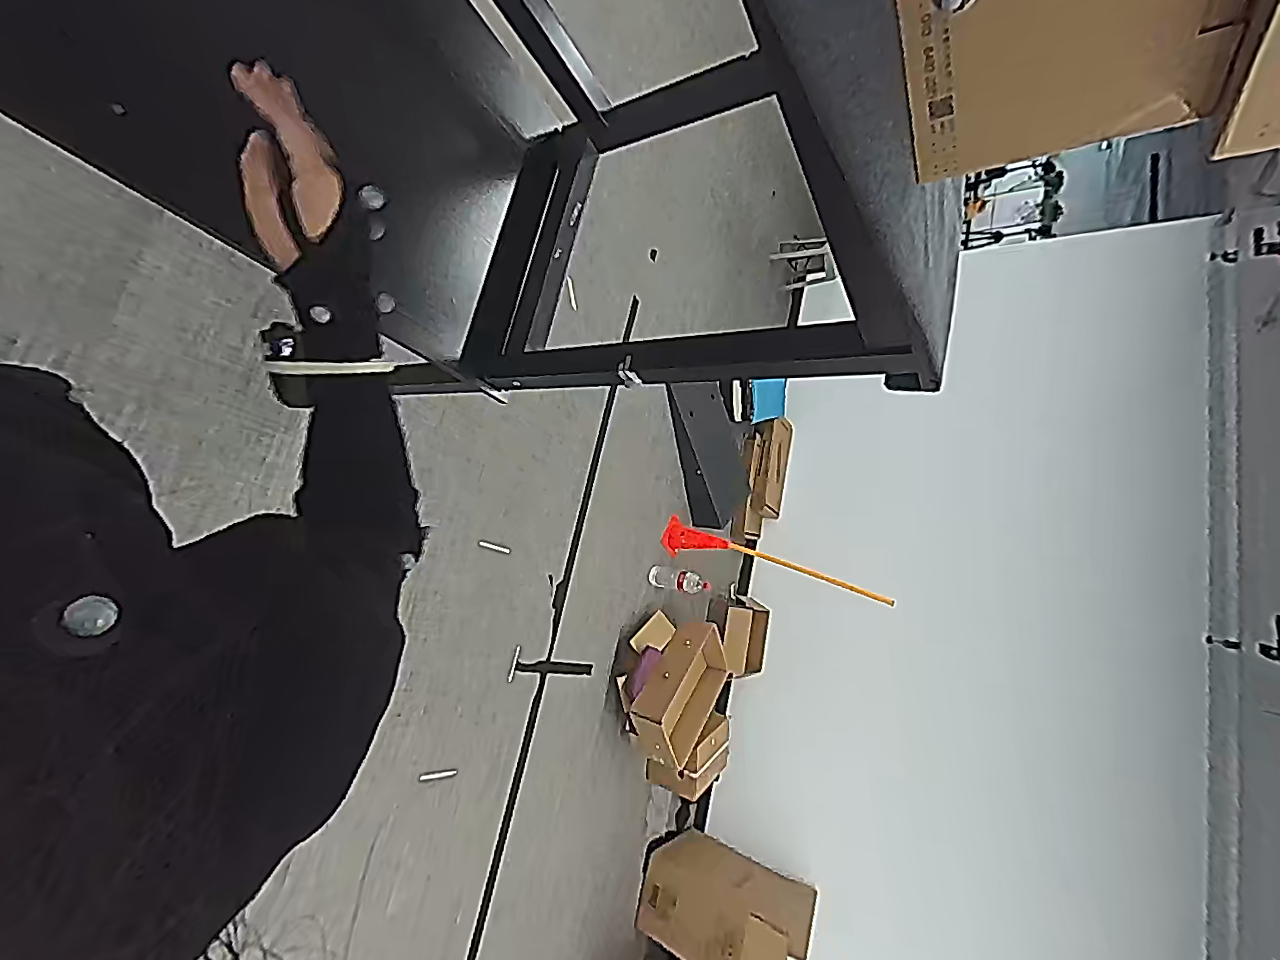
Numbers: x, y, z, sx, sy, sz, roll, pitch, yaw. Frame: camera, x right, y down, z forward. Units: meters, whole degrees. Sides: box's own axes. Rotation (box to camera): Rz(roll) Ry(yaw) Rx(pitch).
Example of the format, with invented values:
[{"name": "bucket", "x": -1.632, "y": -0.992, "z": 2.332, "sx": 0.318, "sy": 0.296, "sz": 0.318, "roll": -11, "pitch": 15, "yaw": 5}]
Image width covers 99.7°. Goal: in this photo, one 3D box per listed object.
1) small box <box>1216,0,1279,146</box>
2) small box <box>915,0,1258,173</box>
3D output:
[{"name": "small box", "x": 0.401, "y": -0.299, "z": 0.247, "sx": 0.168, "sy": 0.176, "sz": 0.179, "roll": 28, "pitch": 69, "yaw": -55}, {"name": "small box", "x": 0.273, "y": -0.338, "z": 0.344, "sx": 0.168, "sy": 0.176, "sz": 0.179, "roll": 37, "pitch": 62, "yaw": -52}]
